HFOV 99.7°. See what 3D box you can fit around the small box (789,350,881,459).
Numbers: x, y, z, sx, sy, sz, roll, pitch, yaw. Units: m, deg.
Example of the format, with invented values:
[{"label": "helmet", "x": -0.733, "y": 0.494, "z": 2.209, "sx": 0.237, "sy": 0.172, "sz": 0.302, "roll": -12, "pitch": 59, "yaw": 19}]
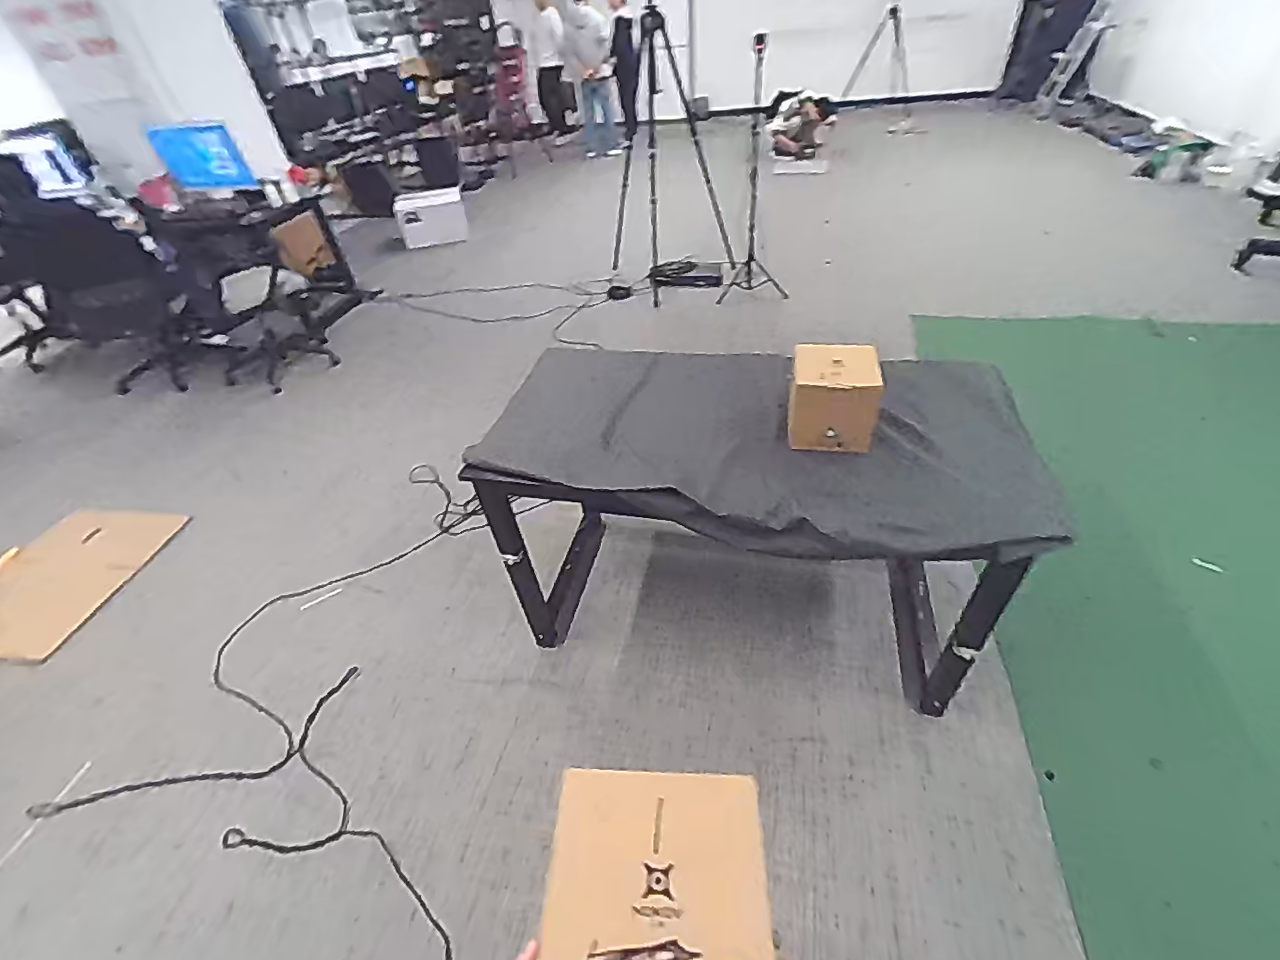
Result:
[{"label": "small box", "x": 0.419, "y": -0.168, "z": 1.187, "sx": 0.168, "sy": 0.176, "sz": 0.179, "roll": 4, "pitch": 42, "yaw": 13}]
